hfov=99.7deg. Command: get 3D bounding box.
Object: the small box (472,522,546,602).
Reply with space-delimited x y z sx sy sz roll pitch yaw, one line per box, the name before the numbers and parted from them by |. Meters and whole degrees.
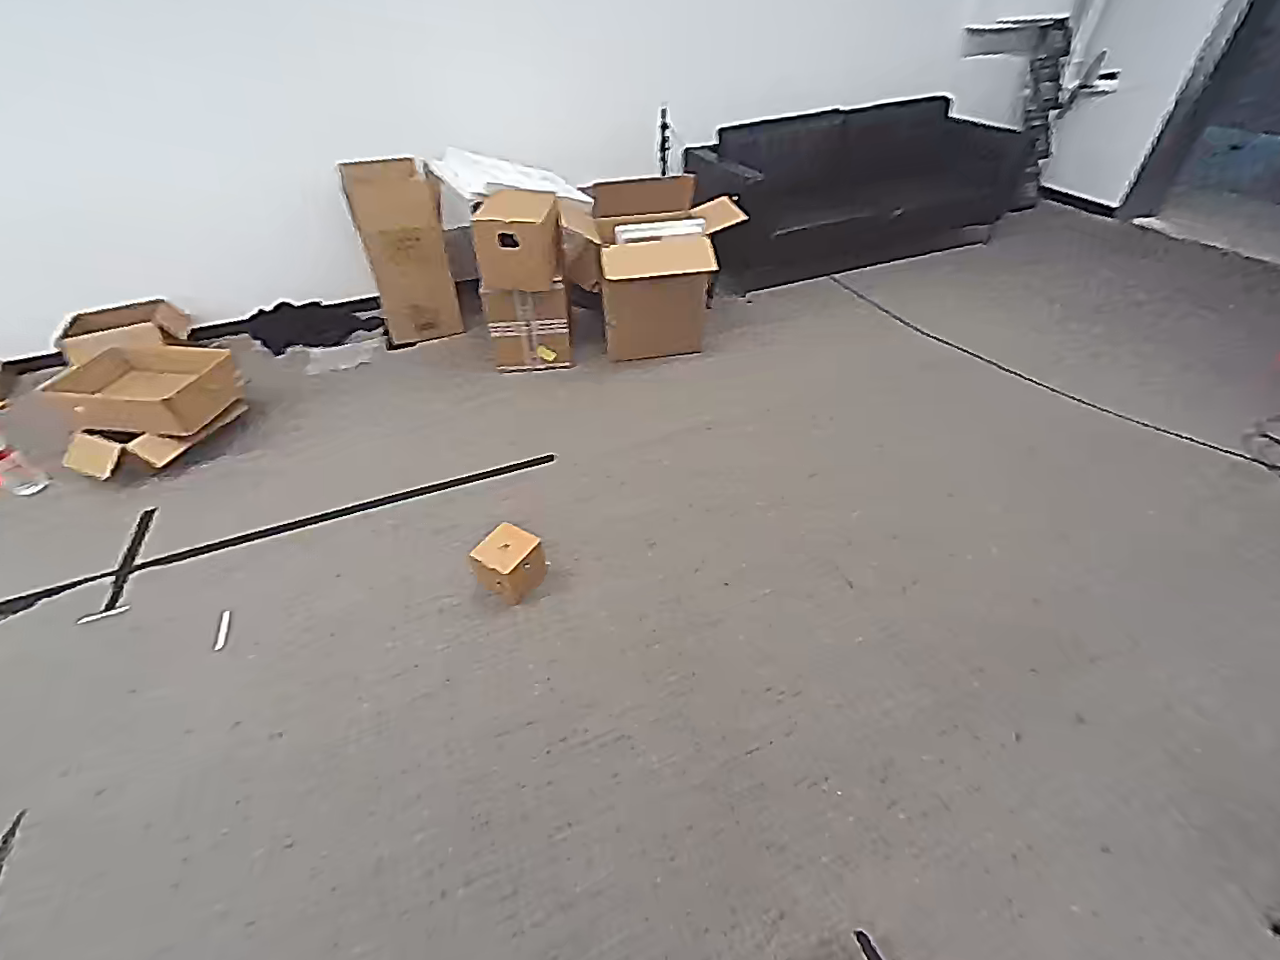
small box | -0.436 0.281 1.835 0.168 0.176 0.179 22 47 23
